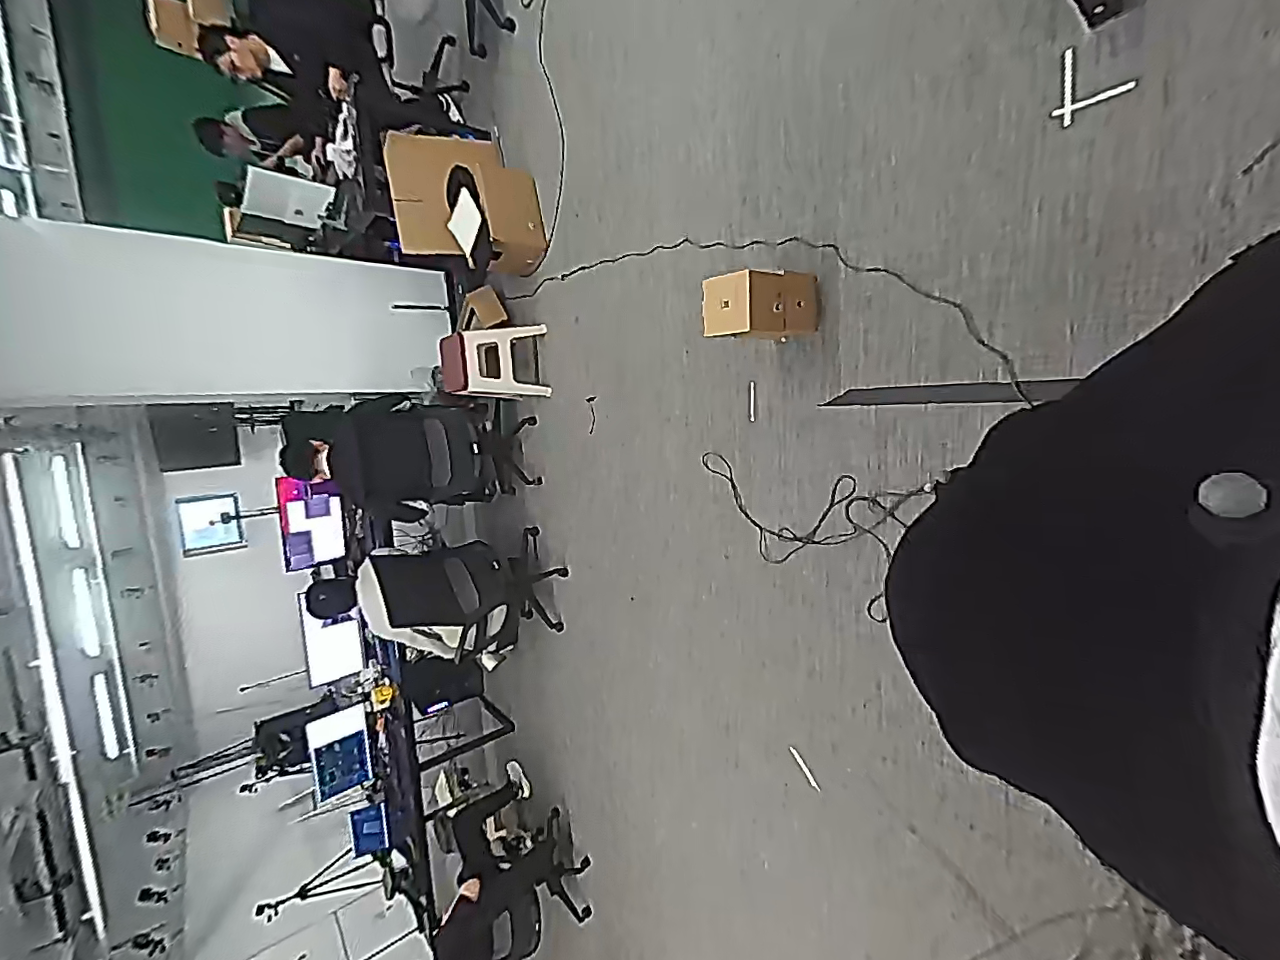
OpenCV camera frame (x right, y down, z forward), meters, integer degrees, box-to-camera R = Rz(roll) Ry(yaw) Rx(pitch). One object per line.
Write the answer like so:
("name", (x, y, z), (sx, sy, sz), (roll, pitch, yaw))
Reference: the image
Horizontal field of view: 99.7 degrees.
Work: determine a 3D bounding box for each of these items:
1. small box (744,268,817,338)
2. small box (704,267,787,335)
("small box", (0.435, -0.543, 1.679), (0.168, 0.176, 0.179), (5, 102, 50))
("small box", (0.307, -0.516, 1.582), (0.179, 0.176, 0.168), (8, 106, 49))
